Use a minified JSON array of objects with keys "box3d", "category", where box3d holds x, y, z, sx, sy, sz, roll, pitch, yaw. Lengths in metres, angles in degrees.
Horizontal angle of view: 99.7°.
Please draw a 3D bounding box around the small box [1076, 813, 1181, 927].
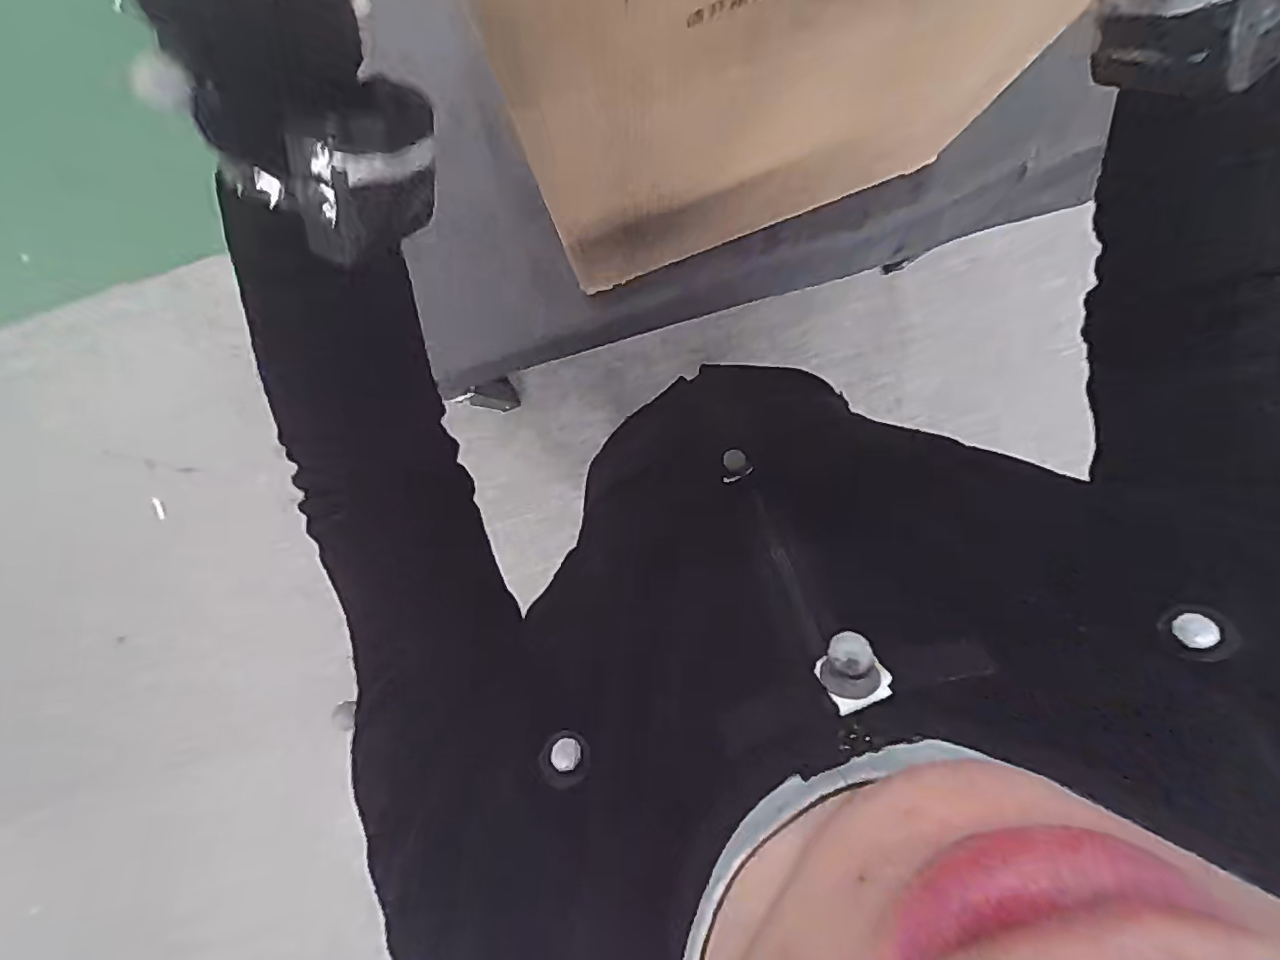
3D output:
[{"box3d":[1.408,1.104,1.543,0.168,0.176,0.179,-21,93,0],"category":"small box"}]
